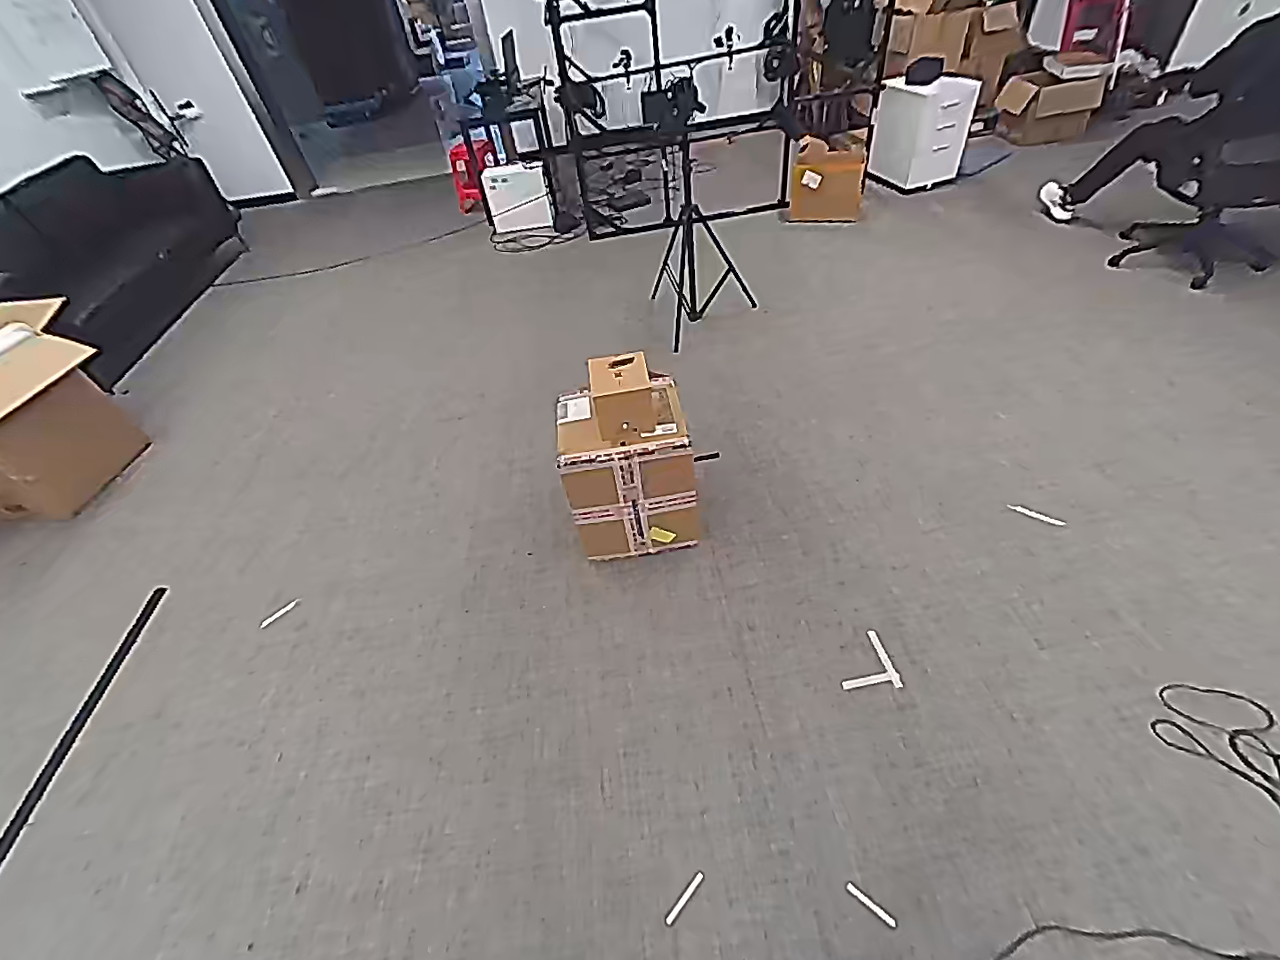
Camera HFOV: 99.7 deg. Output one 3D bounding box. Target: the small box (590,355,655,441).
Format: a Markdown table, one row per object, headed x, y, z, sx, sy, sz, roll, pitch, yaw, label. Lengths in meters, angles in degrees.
| x | y | z | sx | sy | sz | roll | pitch | yaw | label |
| --- | --- | --- | --- | --- | --- | --- | --- | --- | --- |
| -0.051 | -0.239 | 1.590 | 0.168 | 0.176 | 0.179 | -10 | 48 | 0 | small box |
